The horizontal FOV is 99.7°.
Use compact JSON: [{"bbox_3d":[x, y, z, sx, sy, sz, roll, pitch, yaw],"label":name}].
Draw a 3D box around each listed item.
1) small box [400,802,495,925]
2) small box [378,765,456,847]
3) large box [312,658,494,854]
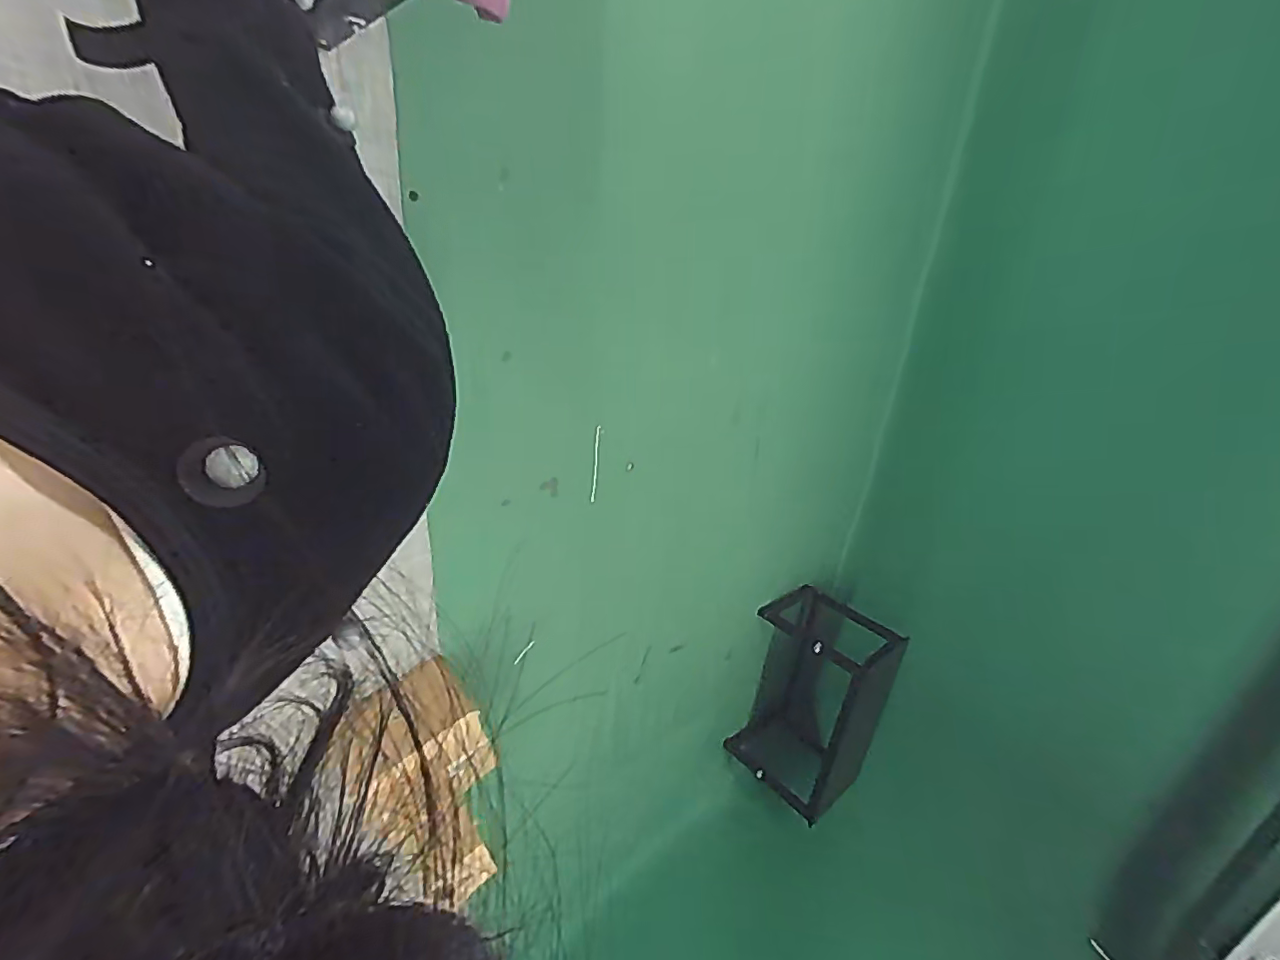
[{"bbox_3d":[-0.524,1.027,1.458,0.179,0.176,0.168,-30,129,-31],"label":"small box"},{"bbox_3d":[-0.630,0.967,1.568,0.168,0.176,0.179,-28,128,-32],"label":"small box"},{"bbox_3d":[-0.760,0.876,1.760,0.408,0.320,0.320,-30,130,-32],"label":"large box"}]
